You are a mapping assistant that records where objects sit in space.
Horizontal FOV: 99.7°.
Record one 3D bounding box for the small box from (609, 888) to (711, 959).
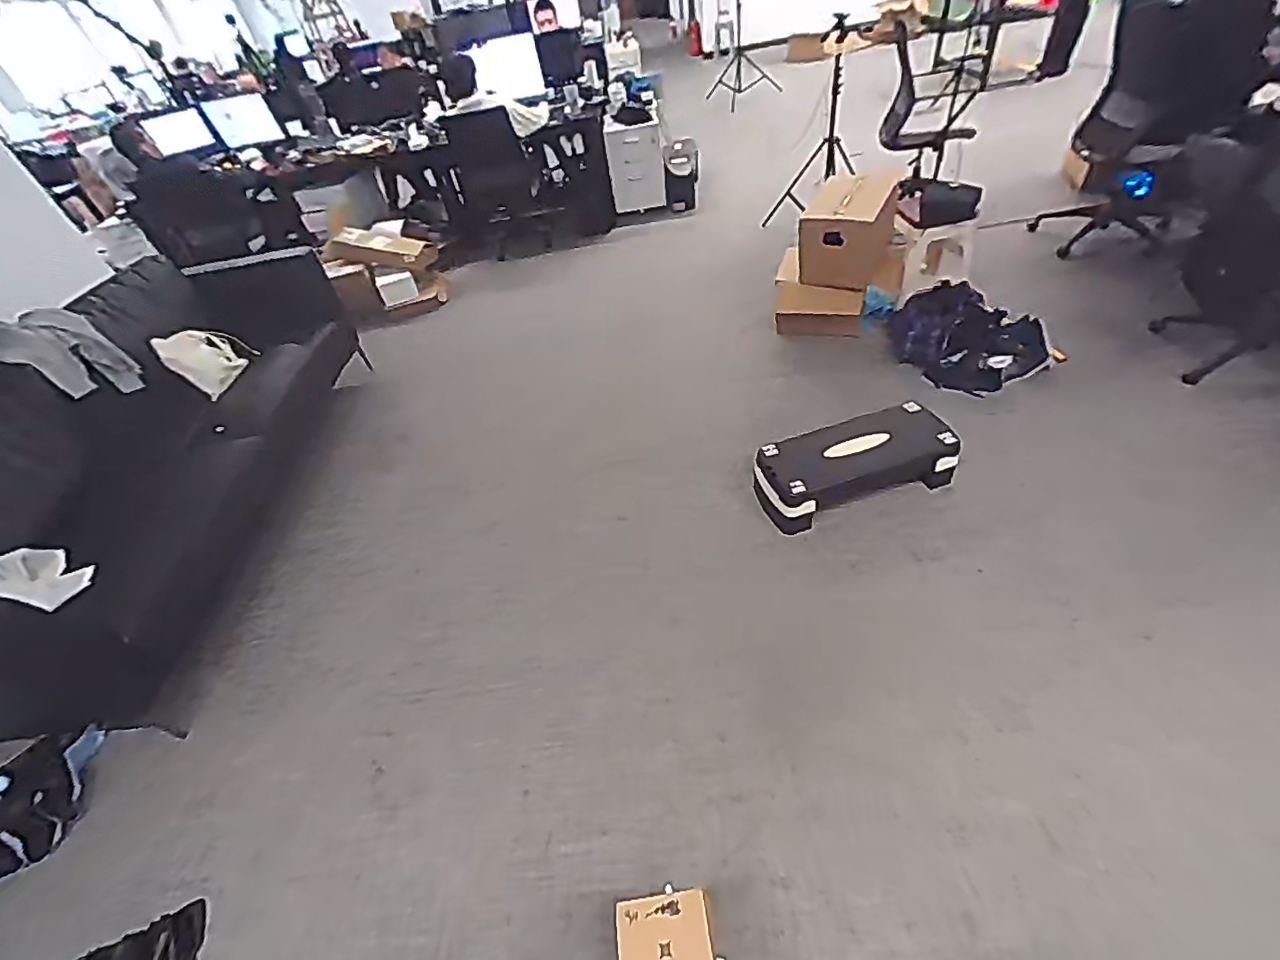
[{"bbox_3d":[0.043,0.883,0.998,0.168,0.176,0.179,-11,45,1],"label":"small box"}]
